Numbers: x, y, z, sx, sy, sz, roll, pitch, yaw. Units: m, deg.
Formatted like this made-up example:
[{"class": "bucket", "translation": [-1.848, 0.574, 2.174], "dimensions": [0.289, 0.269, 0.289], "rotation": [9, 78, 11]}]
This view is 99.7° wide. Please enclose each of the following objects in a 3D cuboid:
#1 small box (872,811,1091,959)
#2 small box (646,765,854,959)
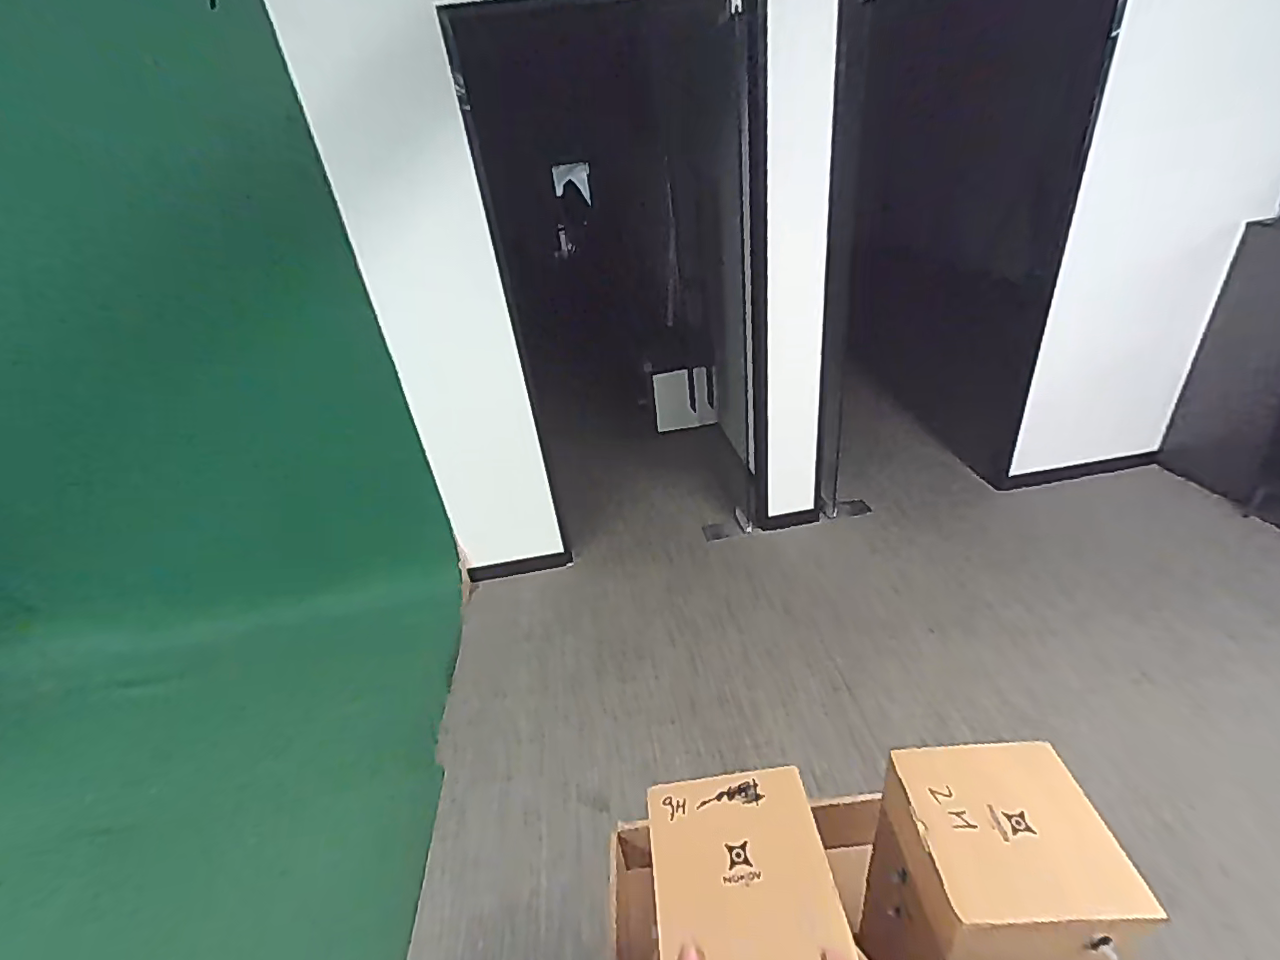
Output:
[{"class": "small box", "translation": [0.399, 0.543, 0.661], "dimensions": [0.168, 0.176, 0.179], "rotation": [-7, 31, 4]}, {"class": "small box", "translation": [0.104, 0.430, 0.550], "dimensions": [0.168, 0.176, 0.179], "rotation": [-10, 33, 1]}]
